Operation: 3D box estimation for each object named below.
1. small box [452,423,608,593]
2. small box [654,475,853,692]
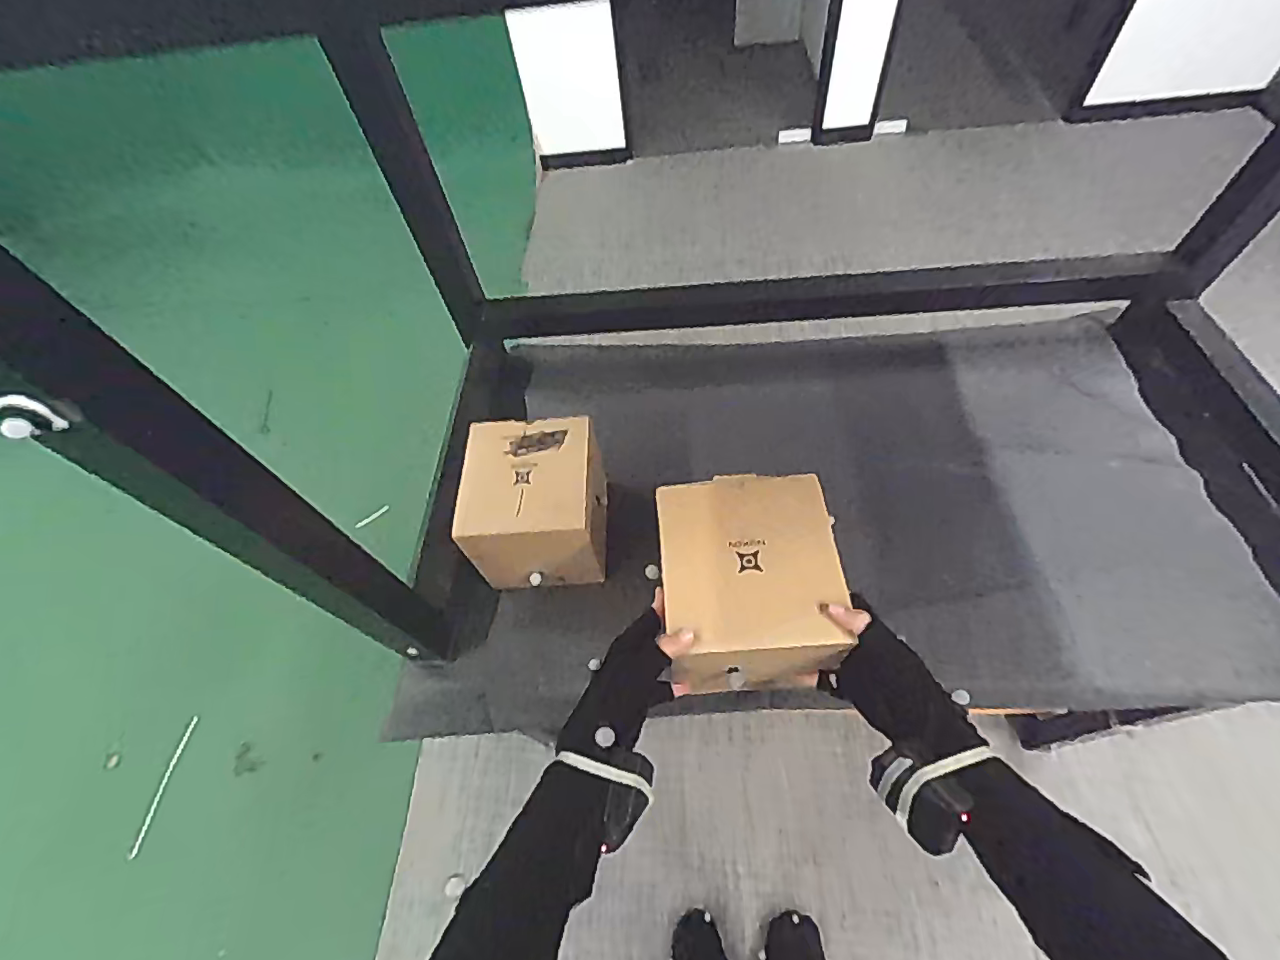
[{"bbox_3d":[-0.139,0.043,0.755,0.168,0.176,0.179,-4,56,4],"label":"small box"},{"bbox_3d":[0.106,0.118,0.573,0.168,0.176,0.179,-5,55,3],"label":"small box"}]
